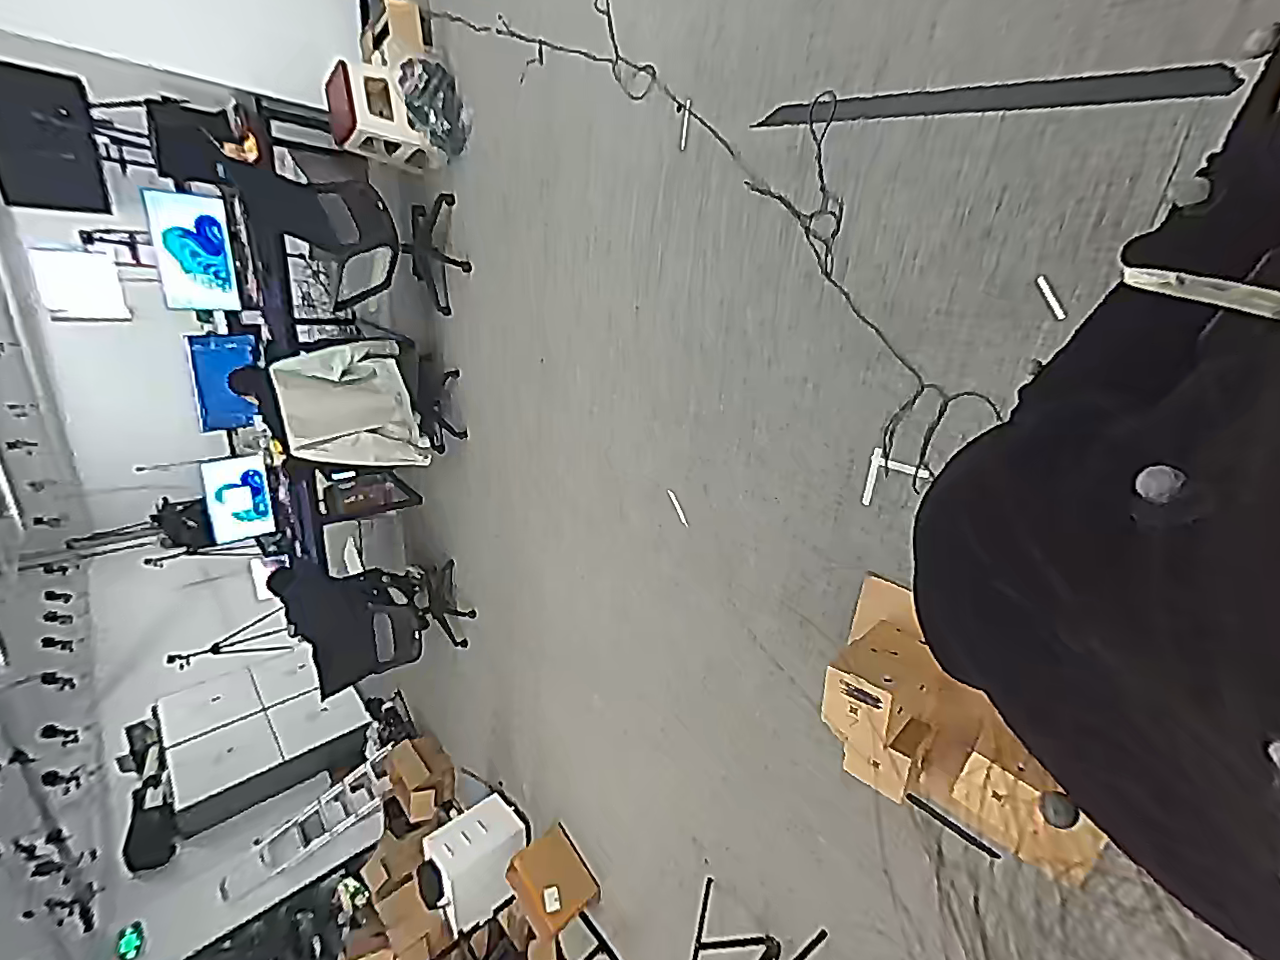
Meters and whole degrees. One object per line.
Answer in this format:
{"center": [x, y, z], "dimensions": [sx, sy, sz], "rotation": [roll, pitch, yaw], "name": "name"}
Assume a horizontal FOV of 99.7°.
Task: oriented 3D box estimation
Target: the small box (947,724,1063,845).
{"center": [0.912, 0.744, 1.350], "dimensions": [0.179, 0.176, 0.168], "rotation": [28, 120, 38], "name": "small box"}

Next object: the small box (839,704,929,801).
{"center": [0.712, 0.777, 1.578], "dimensions": [0.179, 0.176, 0.168], "rotation": [18, 115, 42], "name": "small box"}

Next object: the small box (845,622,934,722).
{"center": [0.701, 0.525, 1.513], "dimensions": [0.168, 0.176, 0.179], "rotation": [19, 115, 43], "name": "small box"}
